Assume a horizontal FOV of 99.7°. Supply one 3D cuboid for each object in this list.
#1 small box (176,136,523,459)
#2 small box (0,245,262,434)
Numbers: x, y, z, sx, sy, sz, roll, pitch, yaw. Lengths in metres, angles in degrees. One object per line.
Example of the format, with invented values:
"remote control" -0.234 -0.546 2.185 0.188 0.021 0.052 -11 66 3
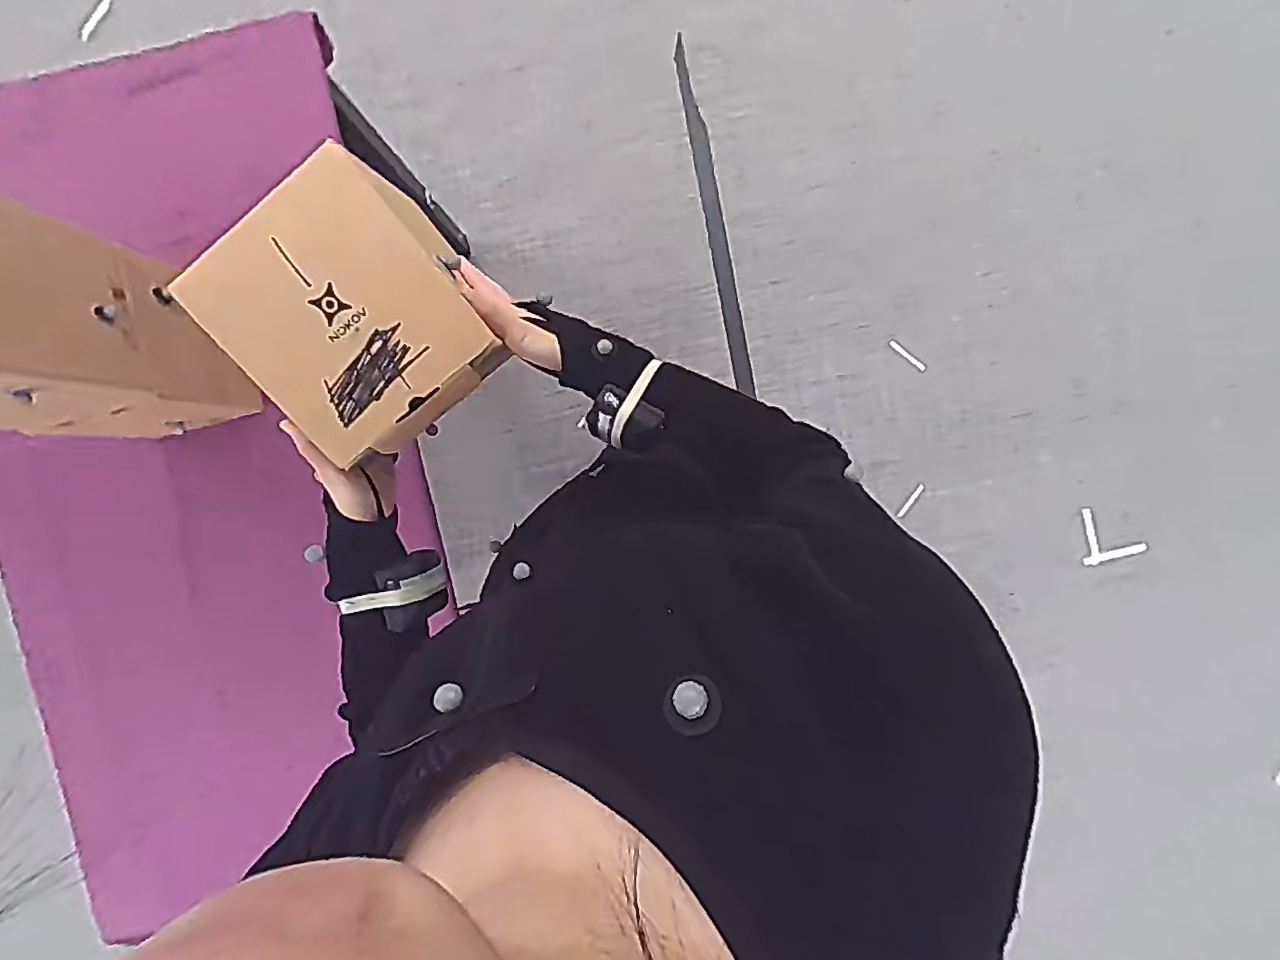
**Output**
"small box" -0.225 -0.147 0.479 0.168 0.176 0.179 -37 102 5
"small box" -0.622 -0.160 0.673 0.168 0.176 0.179 -13 93 2
